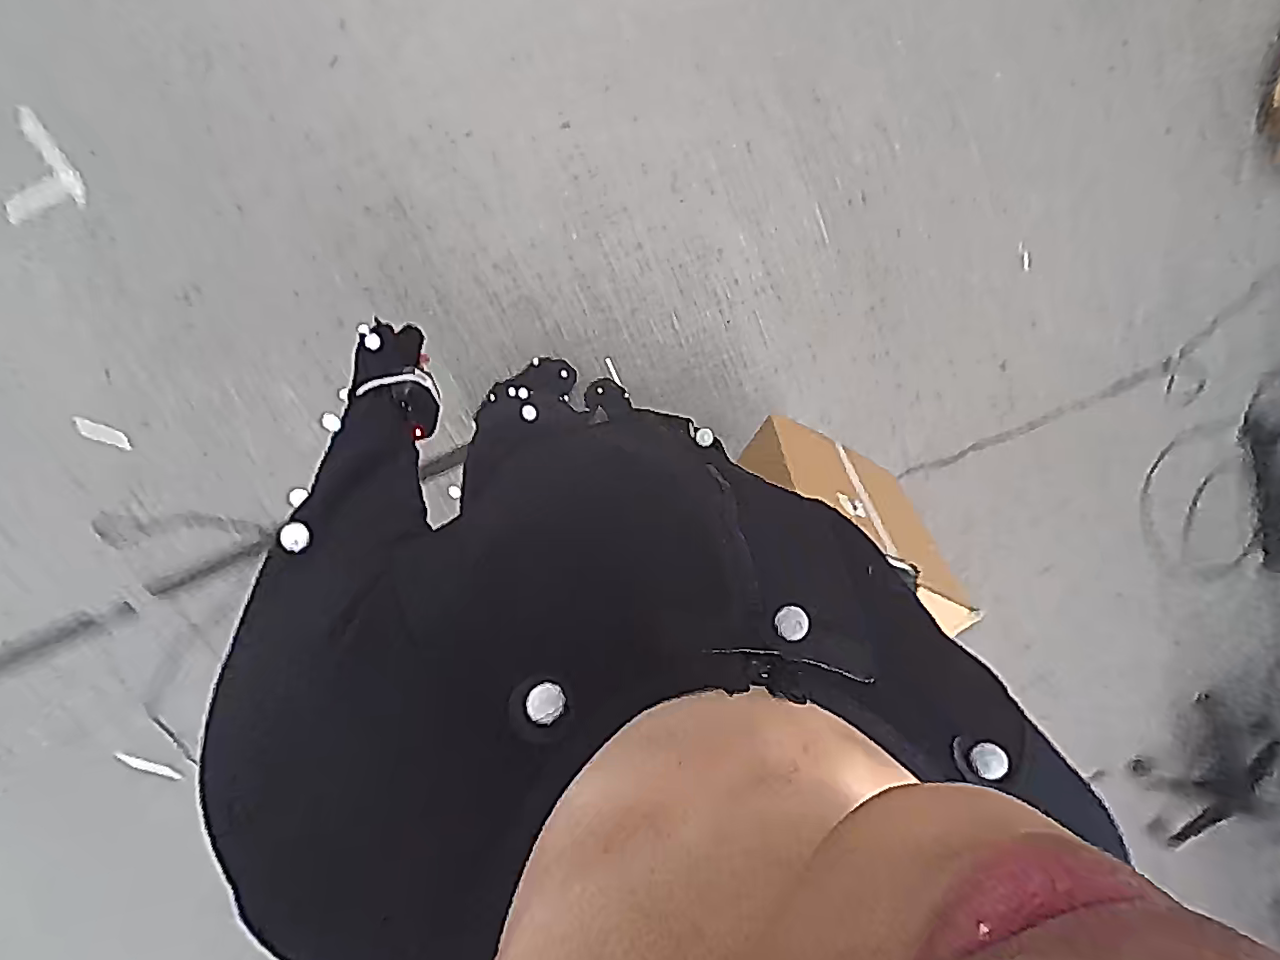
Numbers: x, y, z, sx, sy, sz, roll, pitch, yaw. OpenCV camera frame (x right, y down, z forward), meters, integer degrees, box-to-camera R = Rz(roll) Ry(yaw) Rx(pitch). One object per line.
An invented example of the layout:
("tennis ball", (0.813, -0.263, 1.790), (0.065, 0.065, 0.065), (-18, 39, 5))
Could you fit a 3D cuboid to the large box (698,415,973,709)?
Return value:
("large box", (0.322, 0.144, 1.042), (0.320, 0.408, 0.320), (23, 122, -11))
